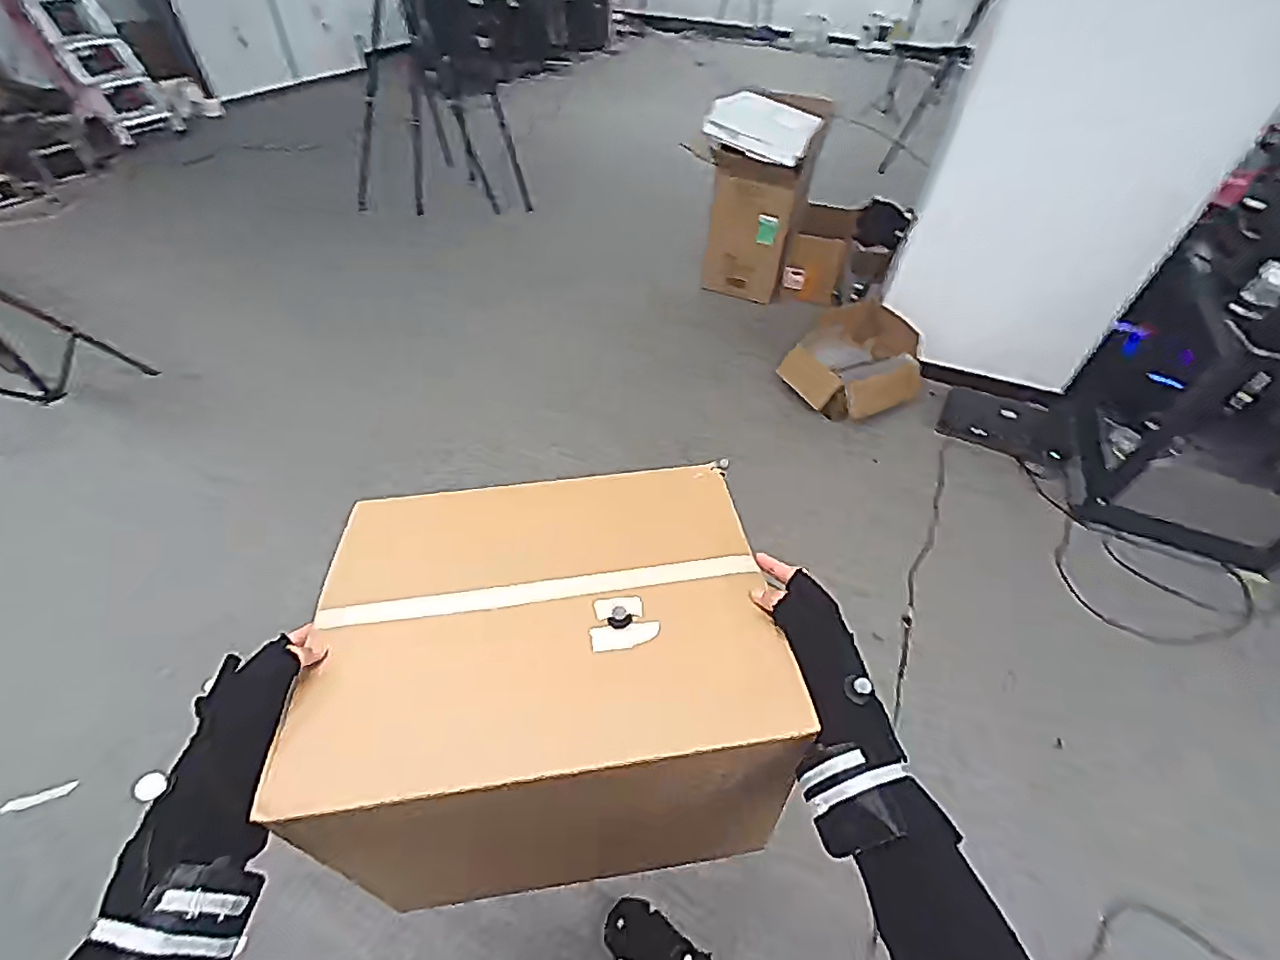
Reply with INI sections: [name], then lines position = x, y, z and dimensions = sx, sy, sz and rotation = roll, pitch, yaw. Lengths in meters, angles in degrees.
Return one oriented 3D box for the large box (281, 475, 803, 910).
[large box]
position = -0.086, 0.227, 0.614
dimensions = 0.408, 0.320, 0.320
rotation = -6, 42, -6
